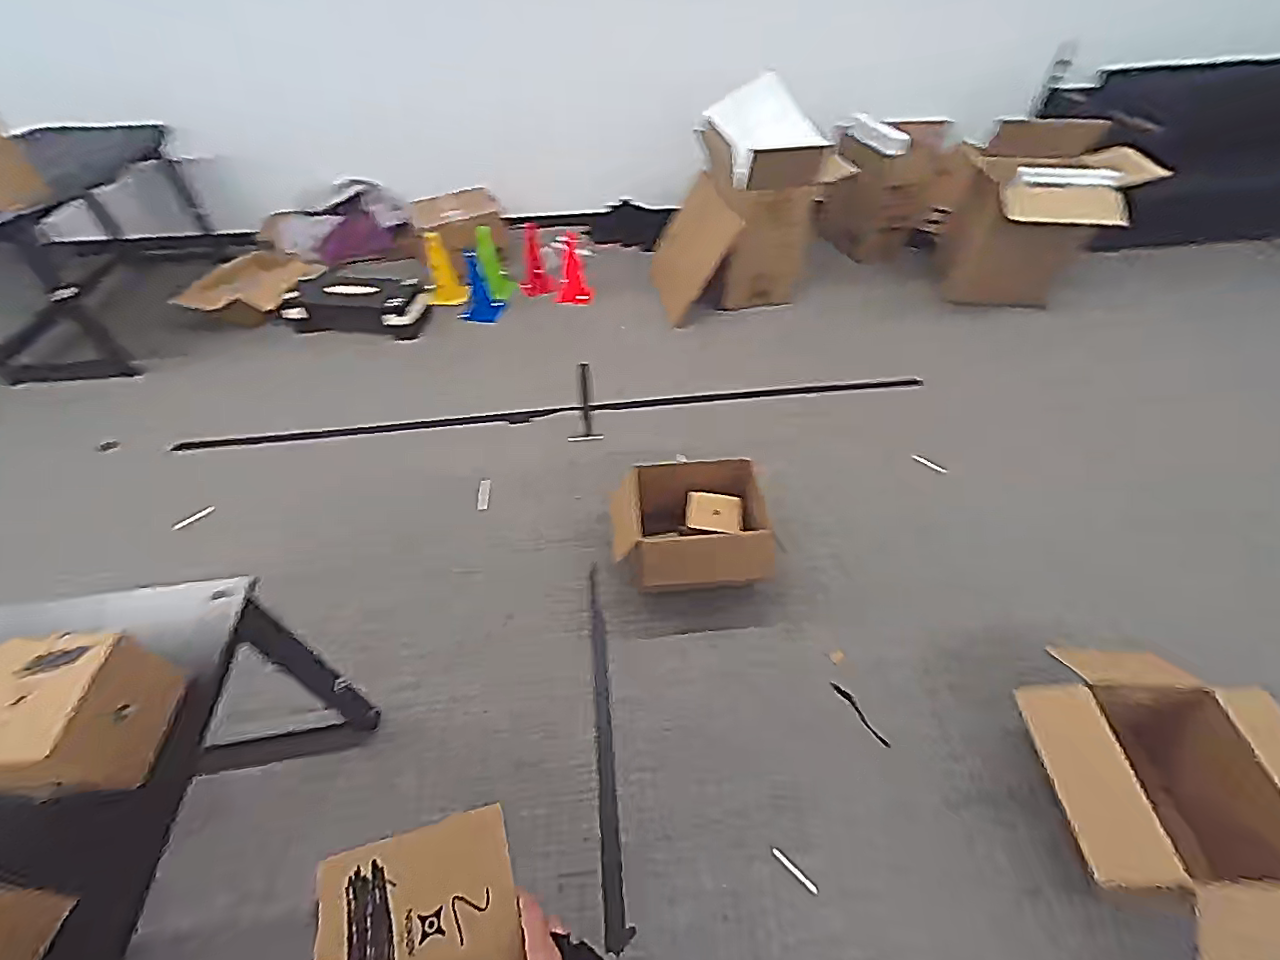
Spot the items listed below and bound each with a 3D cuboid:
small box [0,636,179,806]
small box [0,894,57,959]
[{"bbox_3d":[-0.824,0.347,0.777,0.168,0.176,0.179,-5,50,-3],"label":"small box"},{"bbox_3d":[-0.824,0.559,0.594,0.168,0.176,0.179,3,49,5],"label":"small box"}]
